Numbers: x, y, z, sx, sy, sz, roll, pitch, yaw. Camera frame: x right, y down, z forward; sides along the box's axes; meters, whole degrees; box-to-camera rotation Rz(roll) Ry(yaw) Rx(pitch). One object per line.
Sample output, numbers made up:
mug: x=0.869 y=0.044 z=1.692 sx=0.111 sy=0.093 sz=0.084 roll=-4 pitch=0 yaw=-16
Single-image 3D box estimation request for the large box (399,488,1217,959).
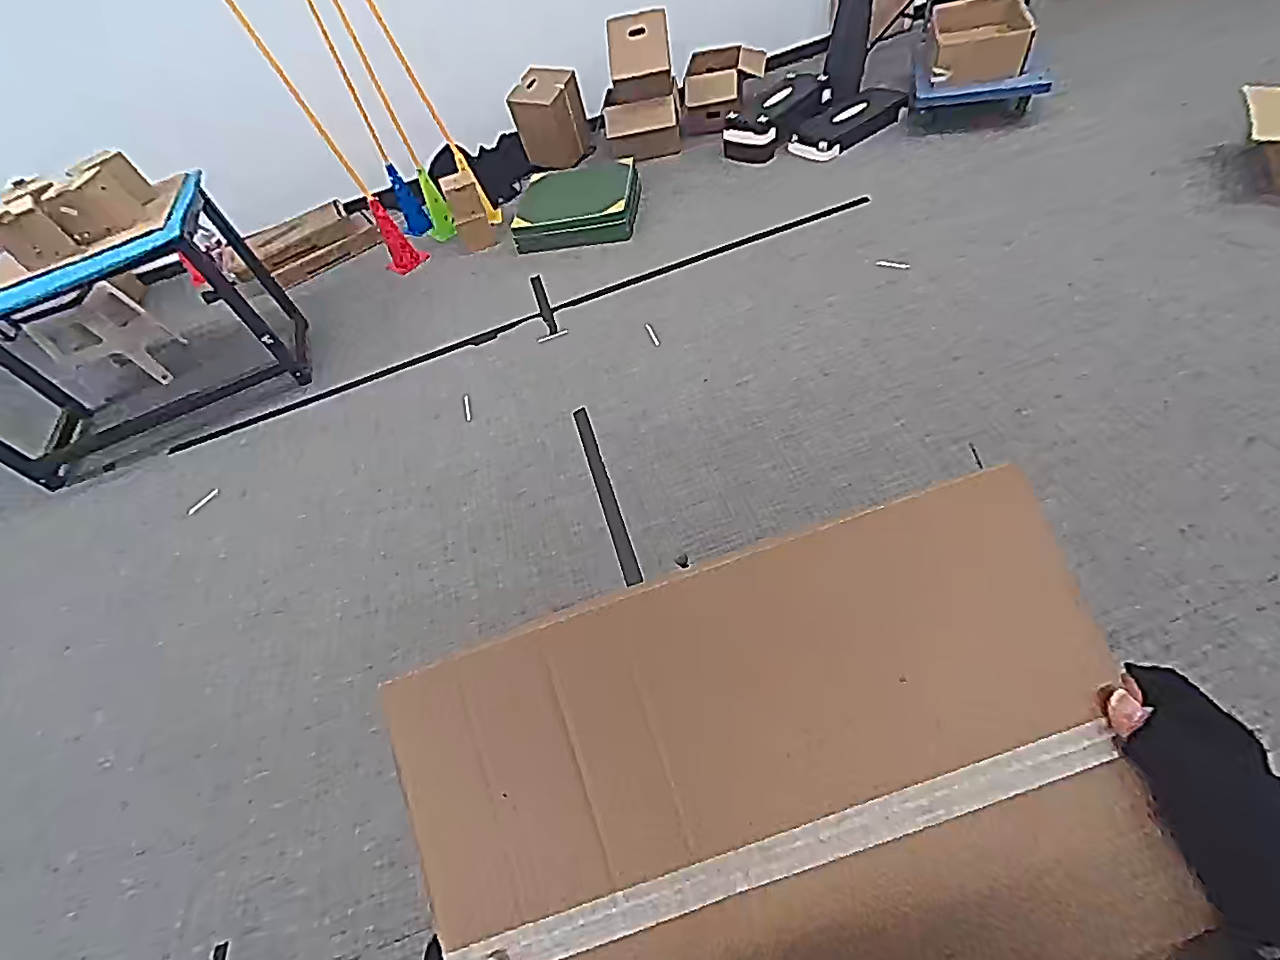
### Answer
large box: x=0.094 y=0.232 z=0.459 sx=0.408 sy=0.320 sz=0.320 roll=-20 pitch=81 yaw=0
